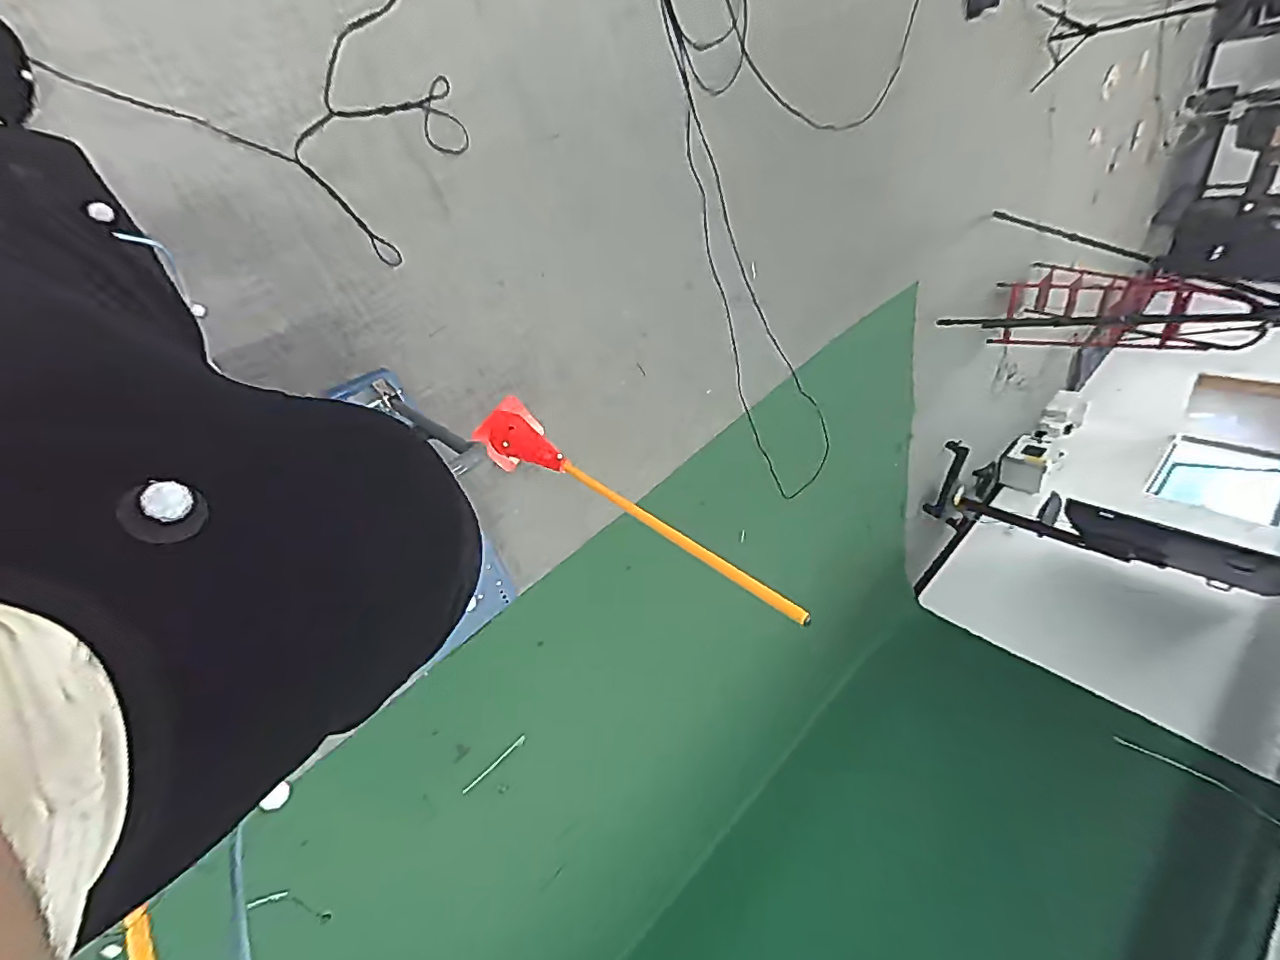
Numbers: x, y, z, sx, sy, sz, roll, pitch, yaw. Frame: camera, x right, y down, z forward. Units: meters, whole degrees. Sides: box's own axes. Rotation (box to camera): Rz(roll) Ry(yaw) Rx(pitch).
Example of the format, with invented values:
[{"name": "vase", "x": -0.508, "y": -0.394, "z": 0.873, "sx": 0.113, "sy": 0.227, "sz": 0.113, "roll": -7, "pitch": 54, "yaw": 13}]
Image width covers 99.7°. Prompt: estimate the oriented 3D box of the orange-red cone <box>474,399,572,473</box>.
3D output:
[{"name": "orange-red cone", "x": -0.326, "y": -0.094, "z": 1.690, "sx": 0.199, "sy": 0.360, "sz": 0.198, "roll": -50, "pitch": 135, "yaw": -14}]
